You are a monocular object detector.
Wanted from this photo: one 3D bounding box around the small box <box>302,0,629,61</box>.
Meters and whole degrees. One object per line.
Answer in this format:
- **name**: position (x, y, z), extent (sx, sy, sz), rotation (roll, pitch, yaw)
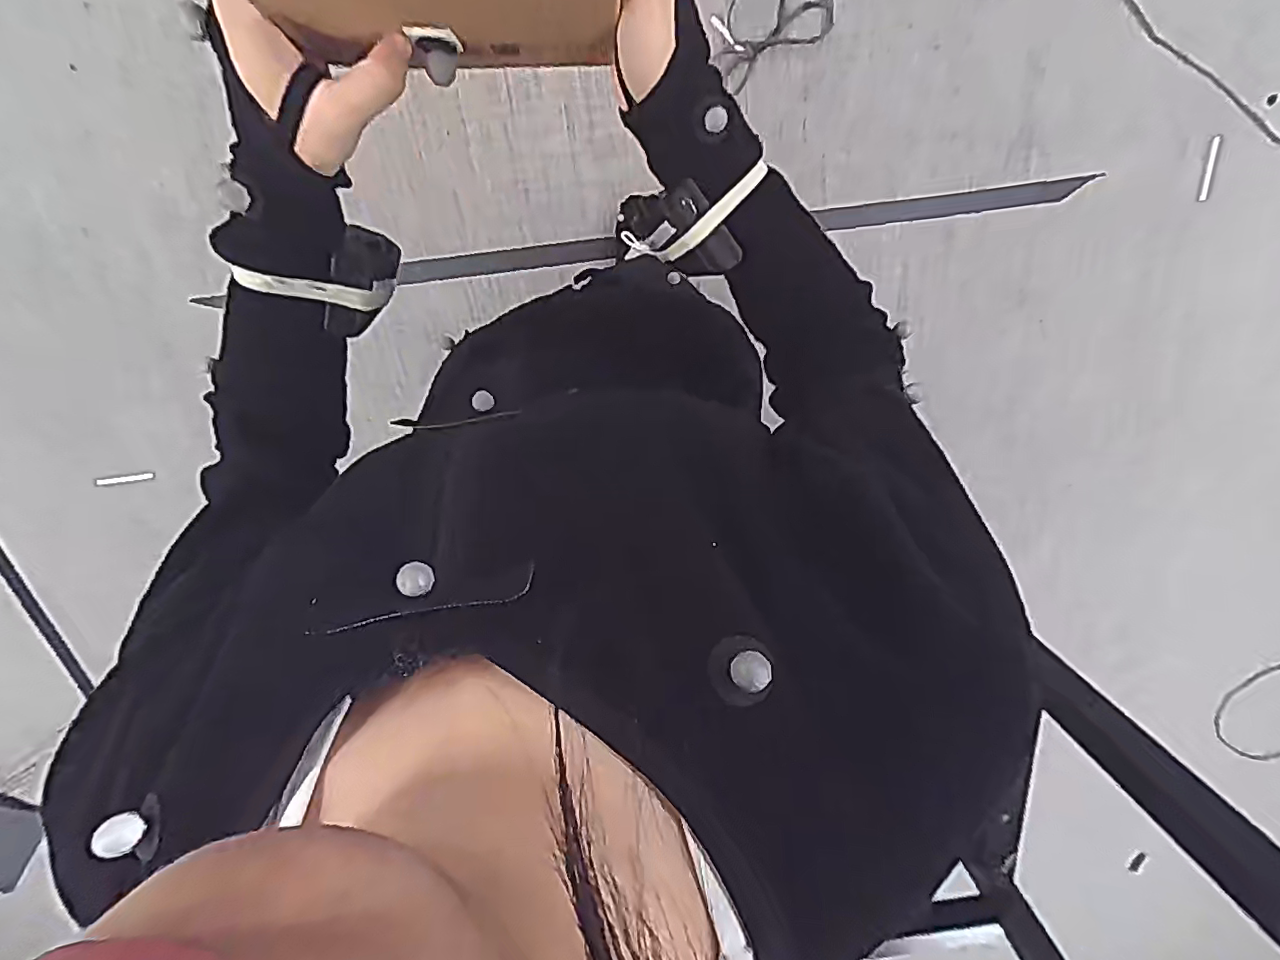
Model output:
- **small box**: position (-0.088, -0.300, 0.208), extent (0.168, 0.176, 0.179), rotation (-3, 110, -1)
